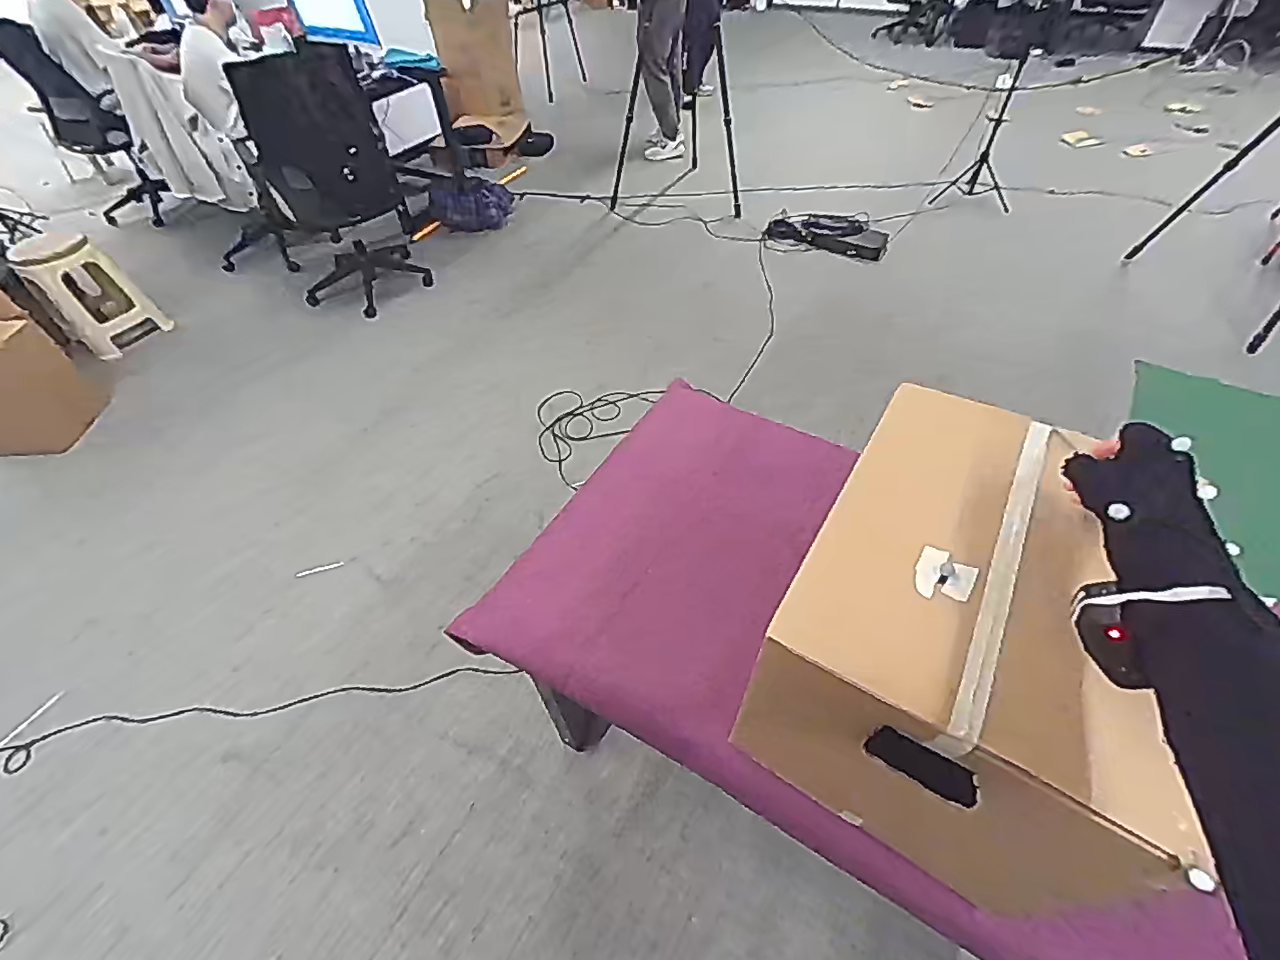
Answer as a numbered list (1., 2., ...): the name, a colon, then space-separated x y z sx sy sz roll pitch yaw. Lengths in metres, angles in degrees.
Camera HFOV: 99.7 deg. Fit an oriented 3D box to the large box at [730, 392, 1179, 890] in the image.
1. large box: 0.344 0.171 0.641 0.320 0.320 0.408 26 55 23
